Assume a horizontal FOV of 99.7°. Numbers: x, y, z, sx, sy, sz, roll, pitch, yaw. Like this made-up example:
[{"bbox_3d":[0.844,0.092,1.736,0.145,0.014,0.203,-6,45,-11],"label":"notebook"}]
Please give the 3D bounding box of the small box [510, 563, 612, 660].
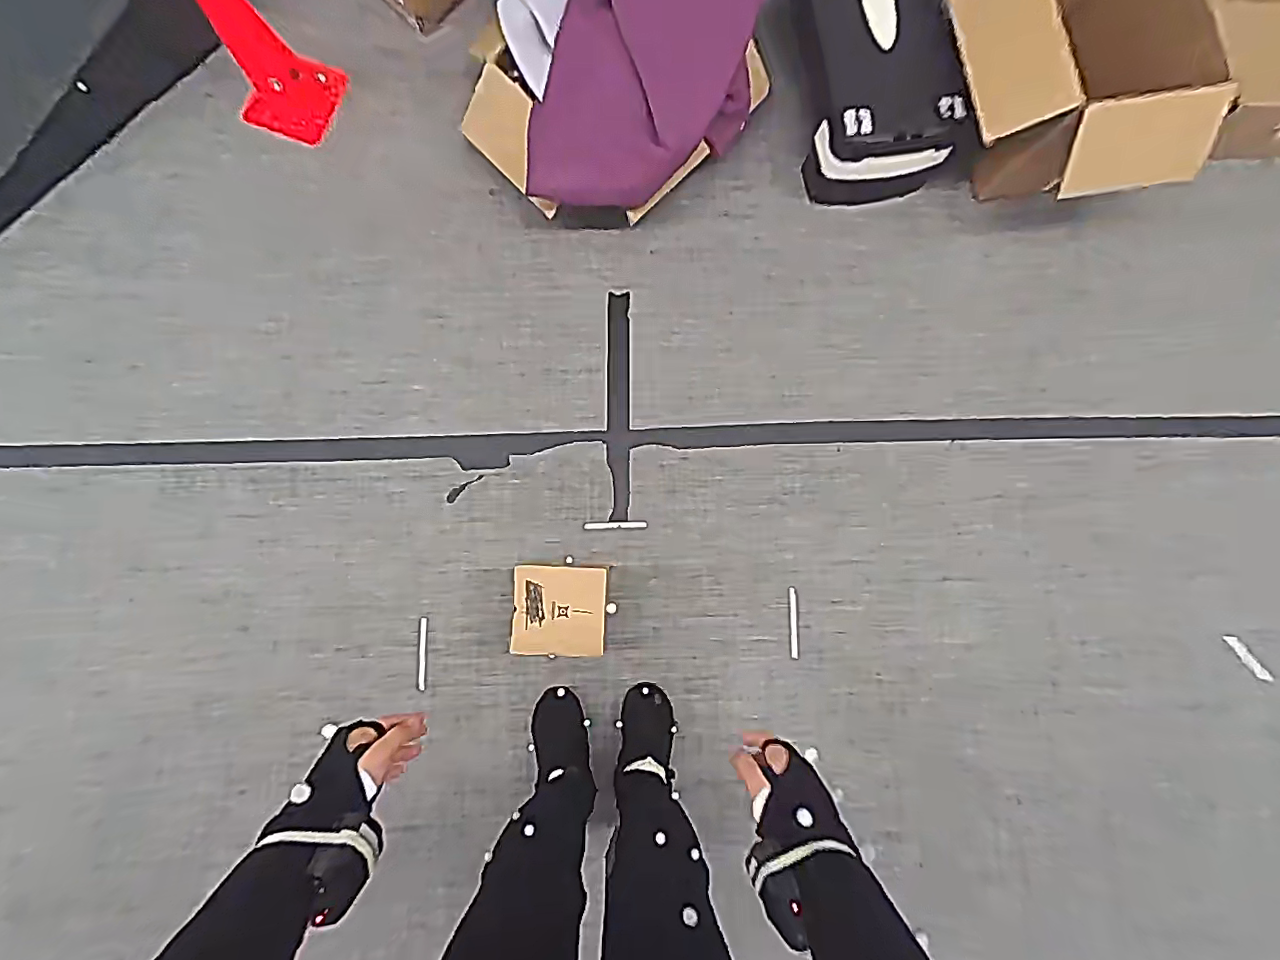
[{"bbox_3d":[-0.151,0.255,1.084,0.179,0.176,0.168,3,85,-2],"label":"small box"}]
